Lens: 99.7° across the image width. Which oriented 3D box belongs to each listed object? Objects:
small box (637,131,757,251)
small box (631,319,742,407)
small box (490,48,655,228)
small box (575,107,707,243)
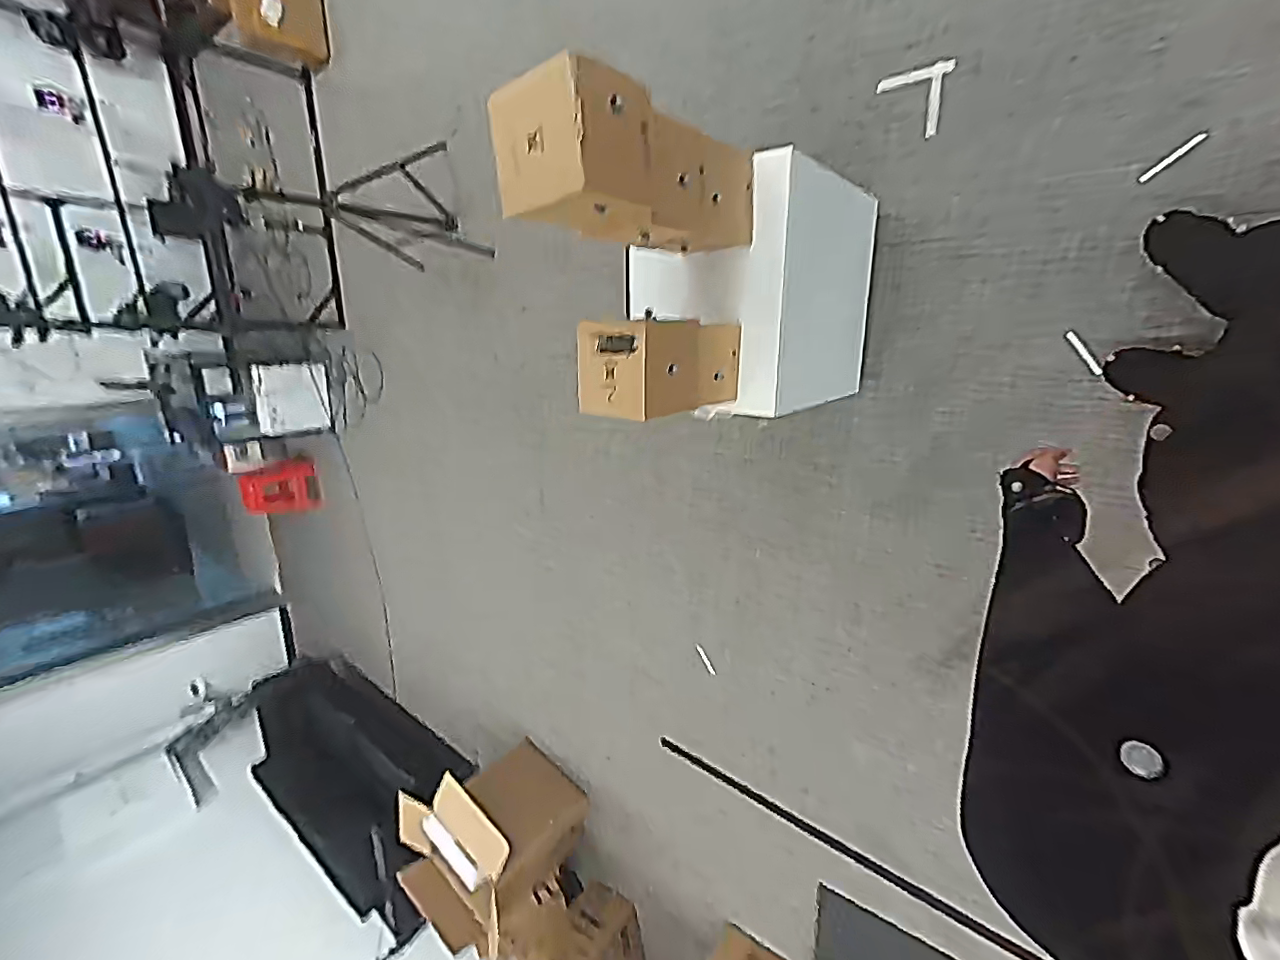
[{"bbox_3d":[0.108,-0.548,1.052,0.179,0.176,0.168,11,111,38],"label":"small box"},{"bbox_3d":[0.100,-0.255,1.149,0.179,0.176,0.168,14,111,38],"label":"small box"},{"bbox_3d":[-0.091,-0.484,0.798,0.179,0.176,0.168,6,106,40],"label":"small box"},{"bbox_3d":[0.003,-0.510,0.929,0.179,0.176,0.168,11,111,38],"label":"small box"}]
